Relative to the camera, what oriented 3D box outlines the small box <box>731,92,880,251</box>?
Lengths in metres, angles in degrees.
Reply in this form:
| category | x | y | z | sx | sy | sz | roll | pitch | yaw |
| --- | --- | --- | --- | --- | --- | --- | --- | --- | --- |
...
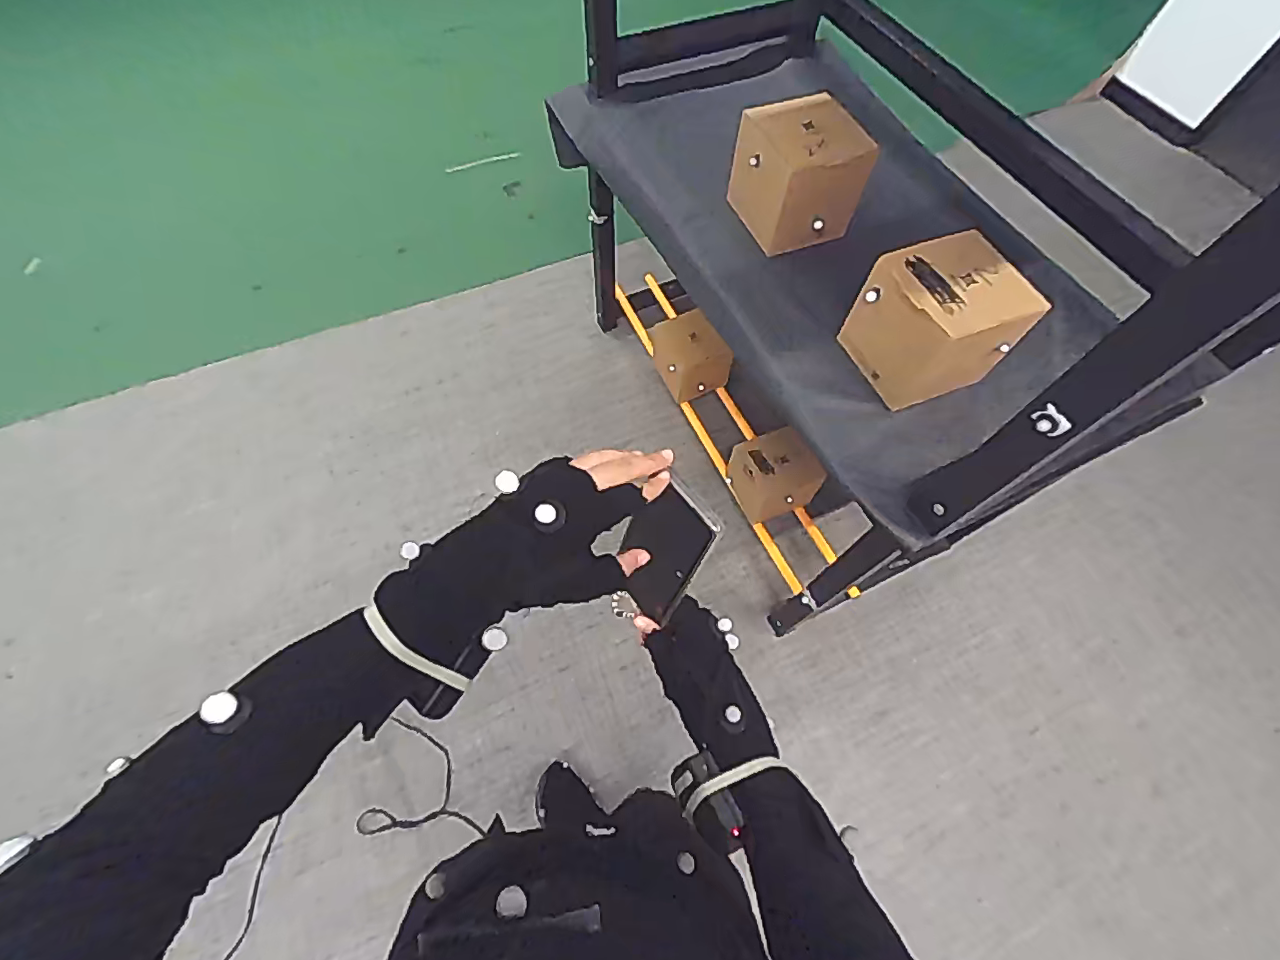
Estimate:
| category | x | y | z | sx | sy | sz | roll | pitch | yaw |
| --- | --- | --- | --- | --- | --- | --- | --- | --- | --- |
| small box | 0.281 | -0.547 | 0.966 | 0.168 | 0.176 | 0.179 | -19 | 66 | -11 |

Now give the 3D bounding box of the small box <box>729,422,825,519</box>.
| category | x | y | z | sx | sy | sz | roll | pitch | yaw |
| --- | --- | --- | --- | --- | --- | --- | --- | --- | --- |
| small box | 0.342 | -0.019 | 1.402 | 0.179 | 0.176 | 0.168 | -19 | 66 | -11 |
